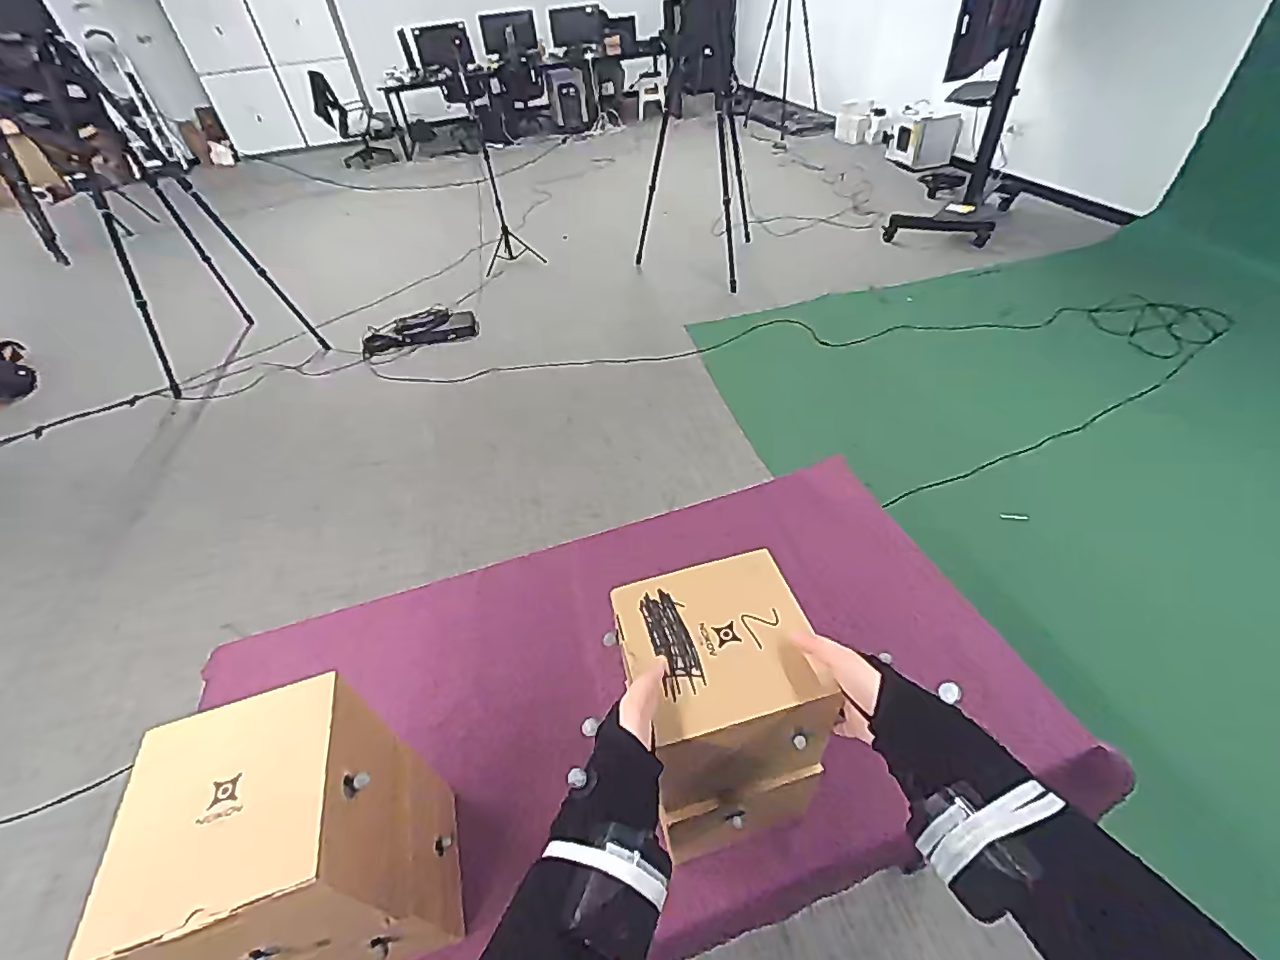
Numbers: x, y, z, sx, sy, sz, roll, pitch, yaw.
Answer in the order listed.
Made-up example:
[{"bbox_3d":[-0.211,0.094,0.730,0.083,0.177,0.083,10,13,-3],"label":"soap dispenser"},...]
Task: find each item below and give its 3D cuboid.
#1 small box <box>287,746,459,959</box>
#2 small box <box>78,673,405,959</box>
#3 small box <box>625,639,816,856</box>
[{"bbox_3d":[-0.313,0.438,0.610,0.179,0.176,0.168,-16,43,-10],"label":"small box"},{"bbox_3d":[-0.333,0.318,0.502,0.168,0.176,0.179,-16,45,-10],"label":"small box"},{"bbox_3d":[0.093,0.332,0.668,0.179,0.176,0.168,-14,44,-8],"label":"small box"}]
